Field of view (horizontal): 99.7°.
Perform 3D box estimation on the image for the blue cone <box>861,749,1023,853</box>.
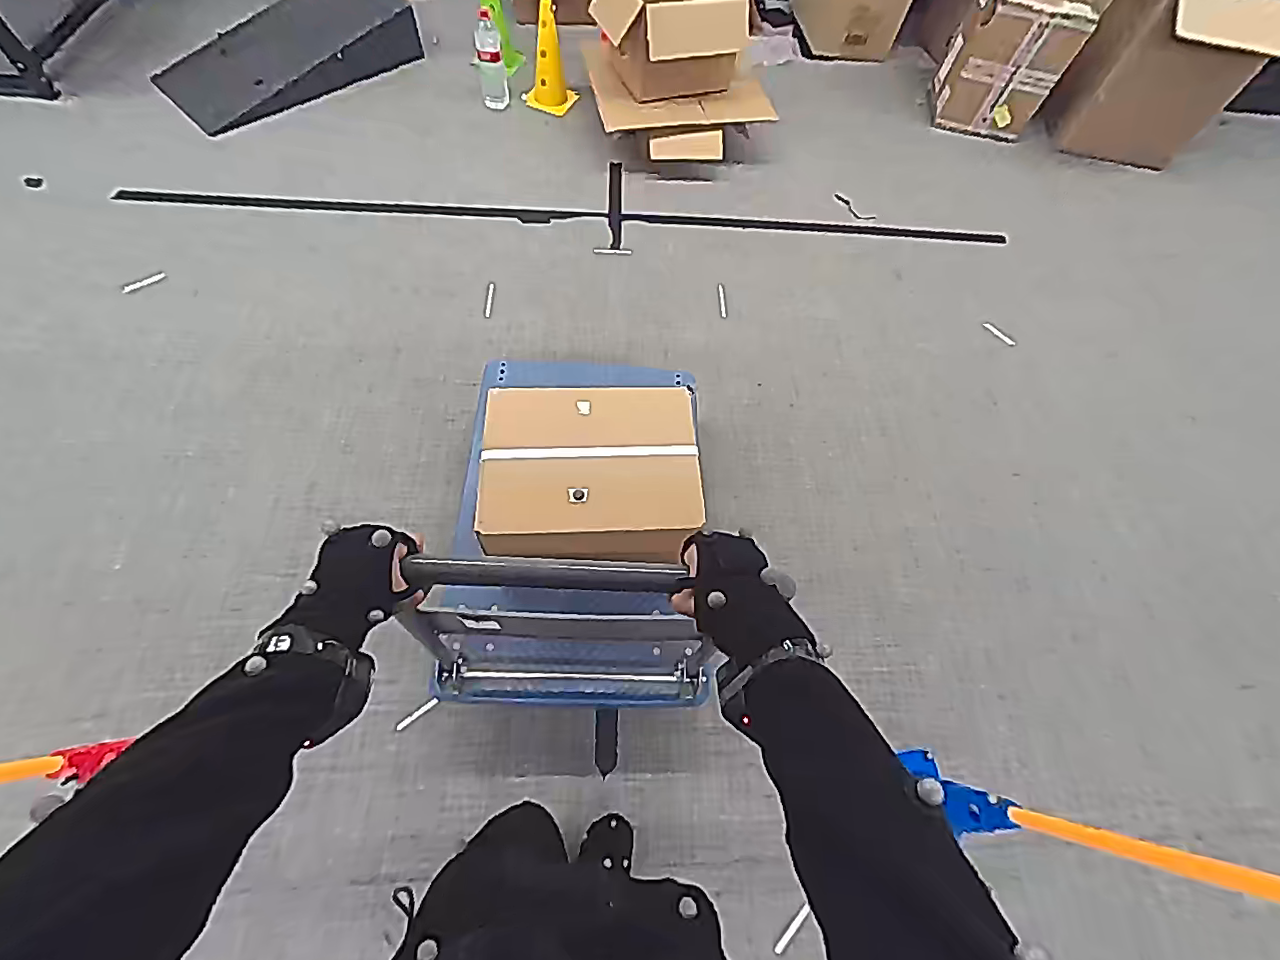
[{"bbox_3d":[0.626,0.646,1.082,0.193,0.380,0.192,-3,62,-7],"label":"blue cone"}]
